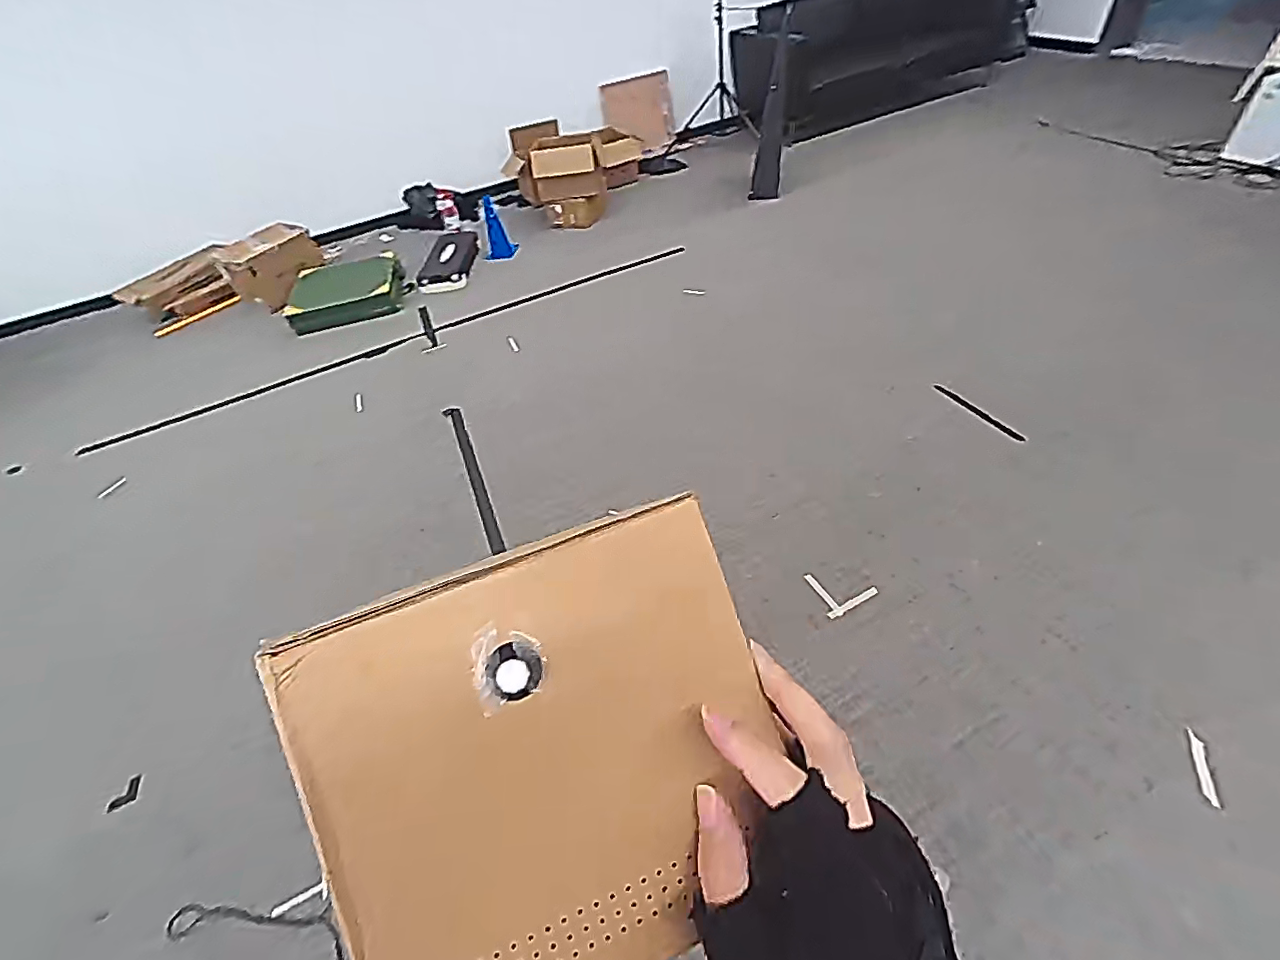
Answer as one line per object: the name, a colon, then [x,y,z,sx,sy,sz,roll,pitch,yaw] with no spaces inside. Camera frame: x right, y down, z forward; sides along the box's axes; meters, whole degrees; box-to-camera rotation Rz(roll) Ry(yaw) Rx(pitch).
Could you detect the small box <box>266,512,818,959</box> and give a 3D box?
small box: [-0.041,0.127,0.284,0.179,0.168,0.176,-19,88,-10]
